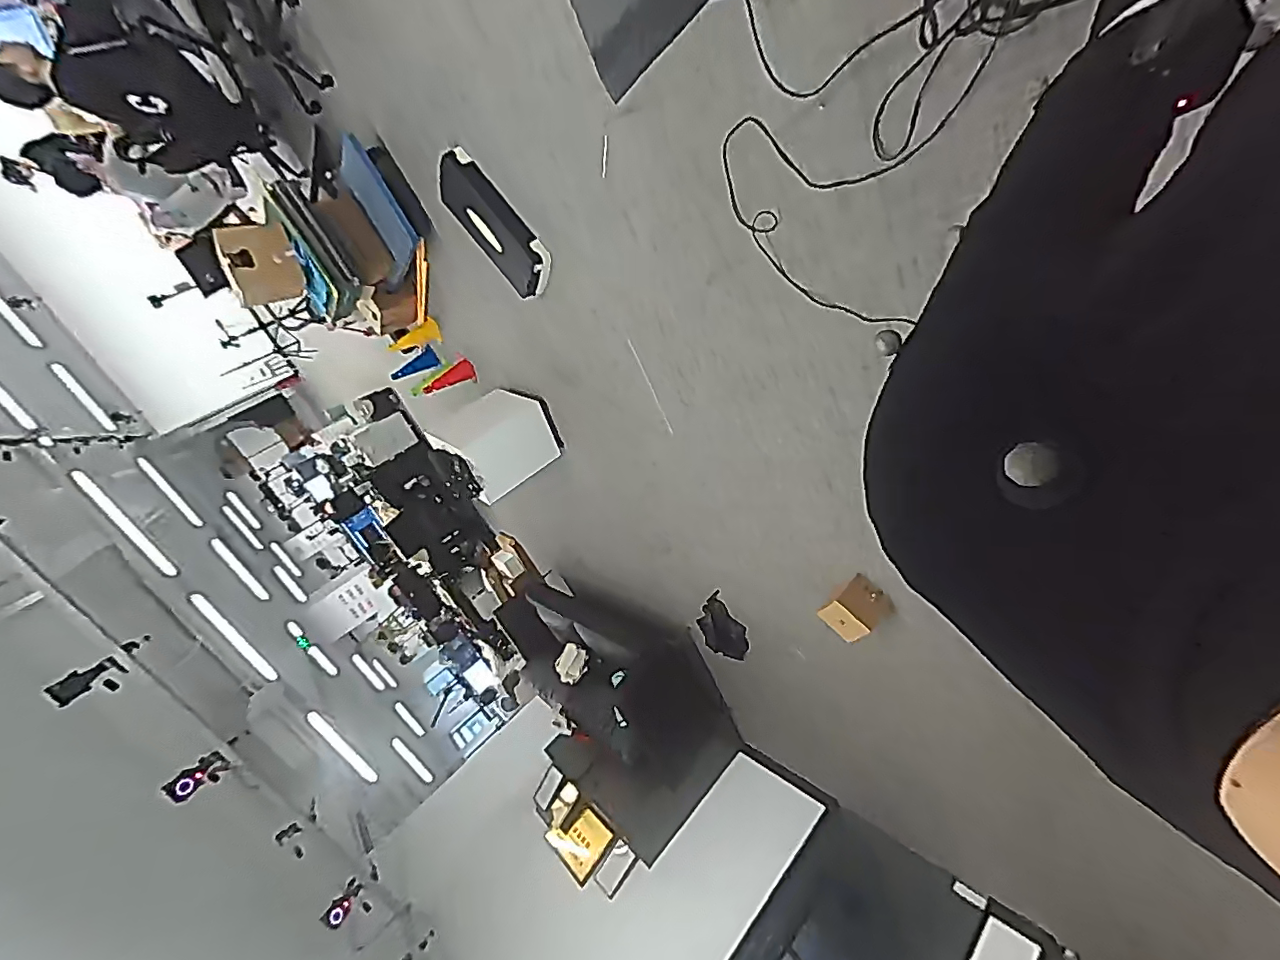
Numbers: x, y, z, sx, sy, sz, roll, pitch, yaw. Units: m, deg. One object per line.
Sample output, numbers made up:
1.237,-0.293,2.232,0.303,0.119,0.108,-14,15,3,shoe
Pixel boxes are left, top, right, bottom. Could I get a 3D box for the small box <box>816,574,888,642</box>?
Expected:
0.837,0.502,2.126,0.168,0.176,0.179,42,151,15,small box
